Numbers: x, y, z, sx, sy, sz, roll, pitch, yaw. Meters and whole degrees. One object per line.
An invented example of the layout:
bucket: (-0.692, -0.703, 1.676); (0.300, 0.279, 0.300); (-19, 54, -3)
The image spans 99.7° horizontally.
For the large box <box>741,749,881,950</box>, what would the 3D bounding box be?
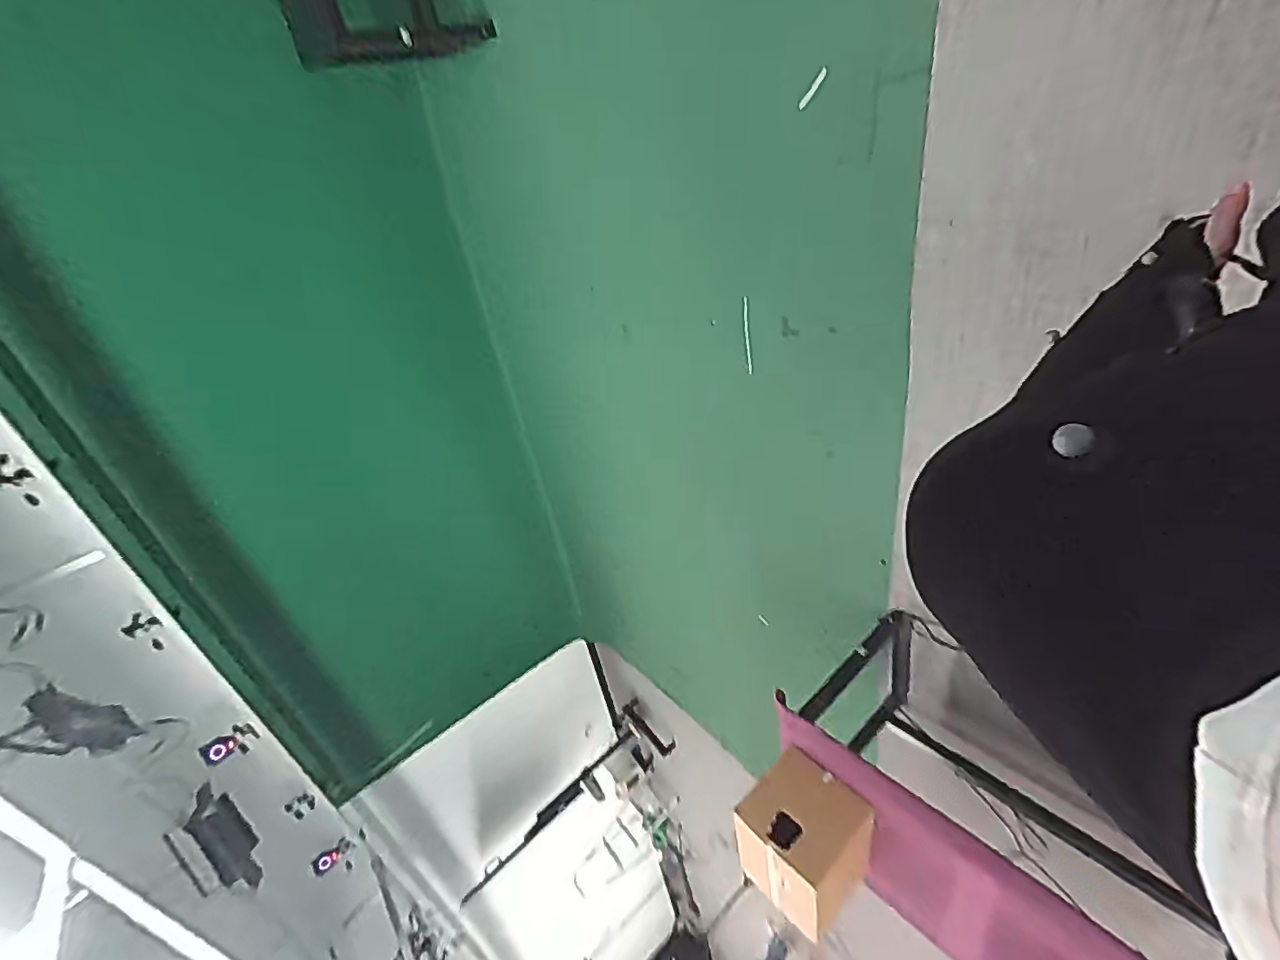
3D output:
large box: (0.562, 1.189, 1.764); (0.320, 0.320, 0.408); (23, 134, 45)
